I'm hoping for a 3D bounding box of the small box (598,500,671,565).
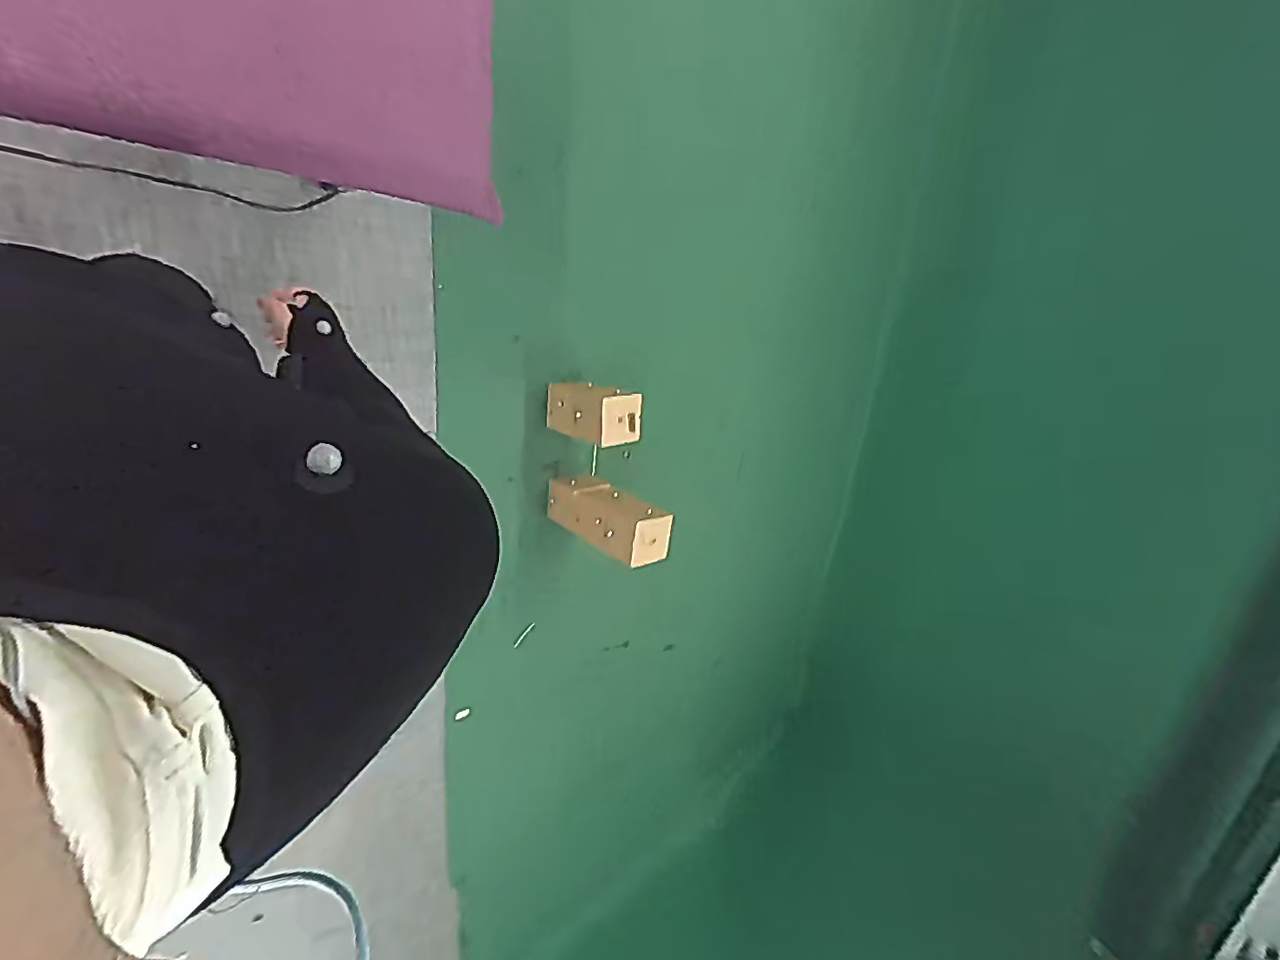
[{"bbox_3d":[-0.020,0.177,1.892,0.179,0.176,0.168,-7,112,-43],"label":"small box"}]

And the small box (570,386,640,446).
[{"bbox_3d":[-0.122,-0.227,1.860,0.179,0.176,0.168,-14,116,-41],"label":"small box"}]

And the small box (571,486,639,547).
[{"bbox_3d":[-0.129,0.130,2.006,0.179,0.176,0.168,-8,113,-44],"label":"small box"}]

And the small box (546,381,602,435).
[{"bbox_3d":[-0.229,-0.268,1.978,0.179,0.176,0.168,-12,115,-43],"label":"small box"}]
